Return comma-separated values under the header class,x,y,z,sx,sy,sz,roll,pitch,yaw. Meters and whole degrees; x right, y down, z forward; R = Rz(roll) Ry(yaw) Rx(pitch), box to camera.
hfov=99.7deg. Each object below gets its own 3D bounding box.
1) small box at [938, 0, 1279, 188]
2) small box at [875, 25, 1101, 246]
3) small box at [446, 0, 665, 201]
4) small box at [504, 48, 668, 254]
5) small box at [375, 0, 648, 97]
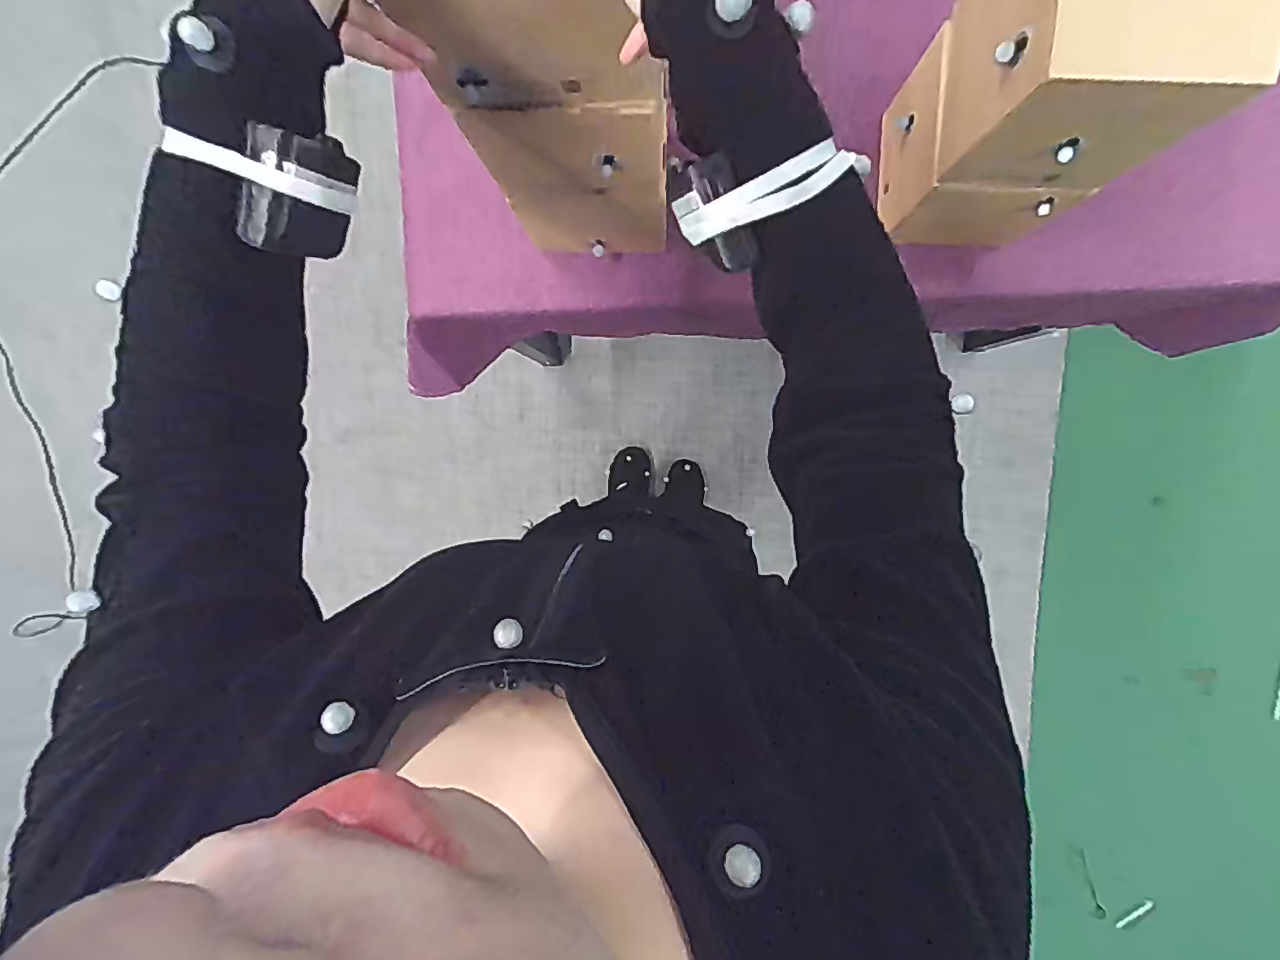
class,x,y,z,sx,sy,sz,roll,pitch,yaw
small box,0.386,-0.379,0.470,0.168,0.176,0.179,4,95,2
small box,0.395,-0.387,0.634,0.179,0.176,0.168,2,95,2
small box,-0.064,-0.378,0.494,0.168,0.176,0.179,3,94,2
small box,-0.057,-0.387,0.658,0.179,0.176,0.168,1,94,2
small box,-0.079,-0.370,0.331,0.168,0.176,0.179,0,93,2
